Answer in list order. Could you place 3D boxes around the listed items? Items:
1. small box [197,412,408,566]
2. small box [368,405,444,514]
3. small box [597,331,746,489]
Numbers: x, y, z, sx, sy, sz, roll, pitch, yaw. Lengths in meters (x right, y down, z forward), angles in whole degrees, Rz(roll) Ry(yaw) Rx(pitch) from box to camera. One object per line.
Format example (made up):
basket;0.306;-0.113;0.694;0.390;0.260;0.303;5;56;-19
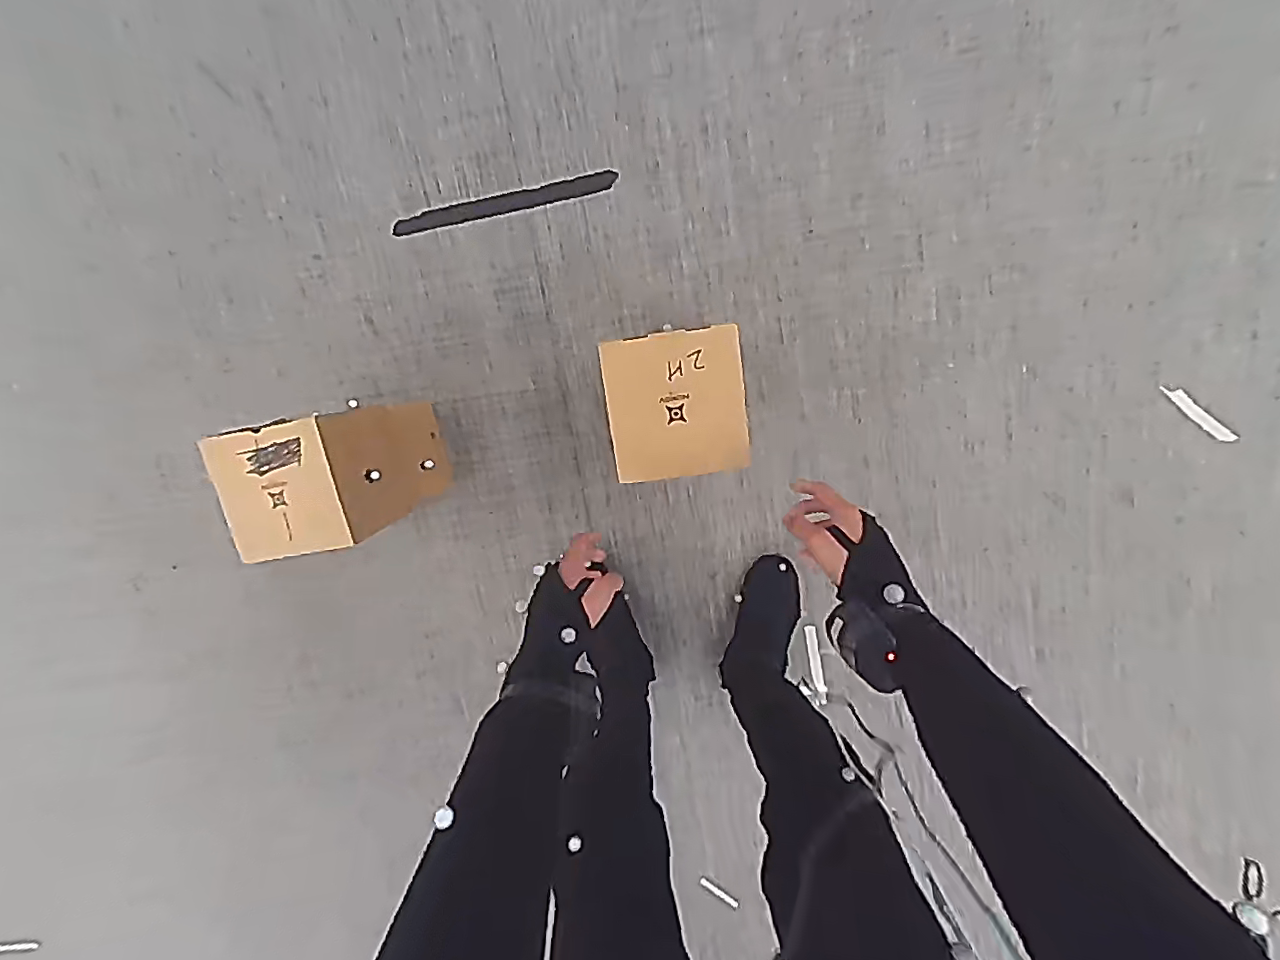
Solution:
small box;-0.462;0.002;0.772;0.168;0.176;0.179;-9;103;6
small box;-0.459;-0.030;0.933;0.179;0.176;0.168;-10;102;6
small box;0.044;-0.099;0.723;0.168;0.176;0.179;-7;102;4
